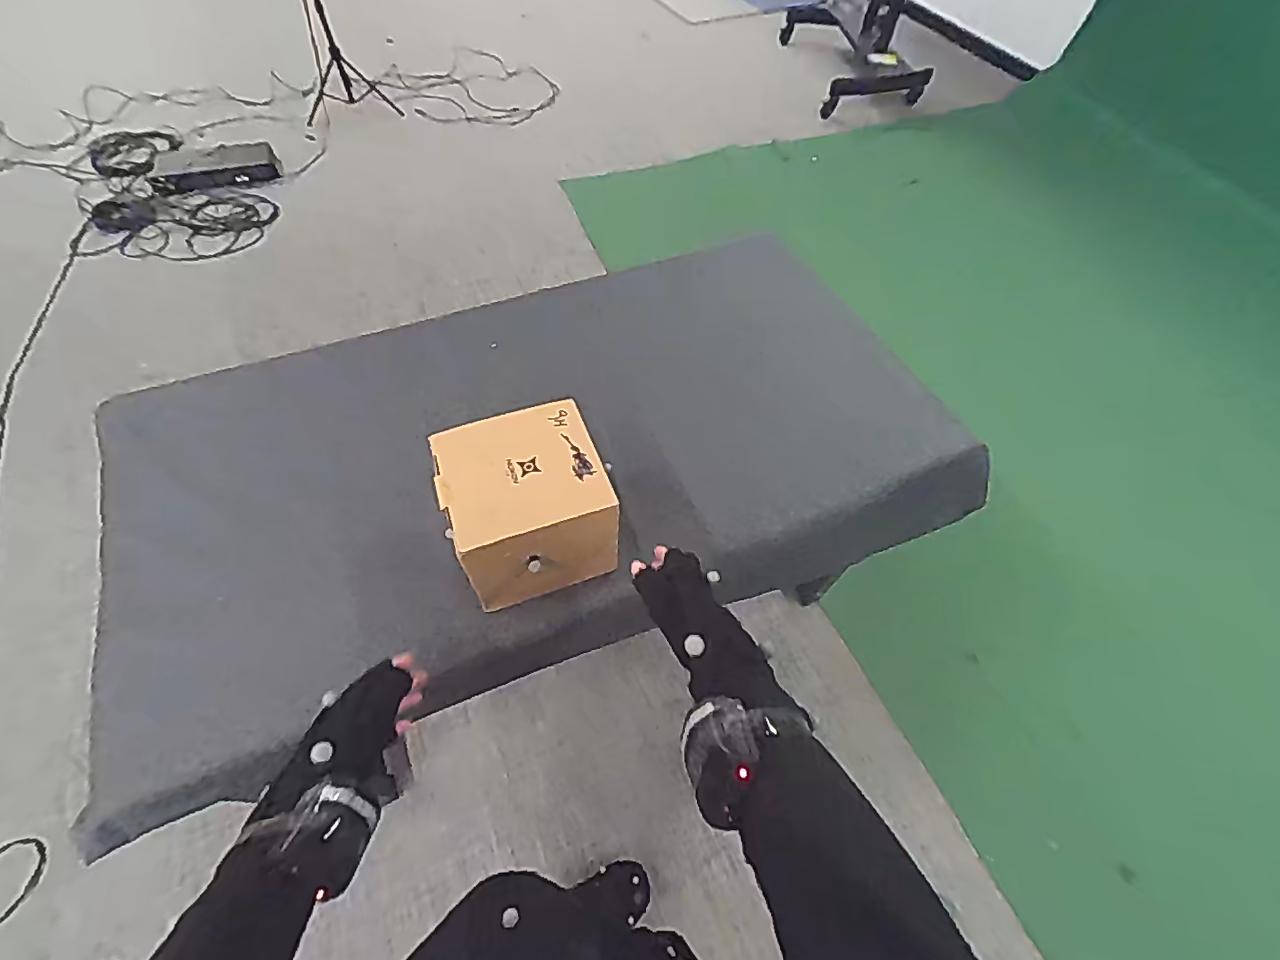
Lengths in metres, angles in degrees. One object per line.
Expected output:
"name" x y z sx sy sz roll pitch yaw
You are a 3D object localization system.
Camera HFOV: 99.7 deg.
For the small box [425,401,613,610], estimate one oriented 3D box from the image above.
"small box" -0.140 0.036 0.664 0.179 0.176 0.168 -17 58 -13
